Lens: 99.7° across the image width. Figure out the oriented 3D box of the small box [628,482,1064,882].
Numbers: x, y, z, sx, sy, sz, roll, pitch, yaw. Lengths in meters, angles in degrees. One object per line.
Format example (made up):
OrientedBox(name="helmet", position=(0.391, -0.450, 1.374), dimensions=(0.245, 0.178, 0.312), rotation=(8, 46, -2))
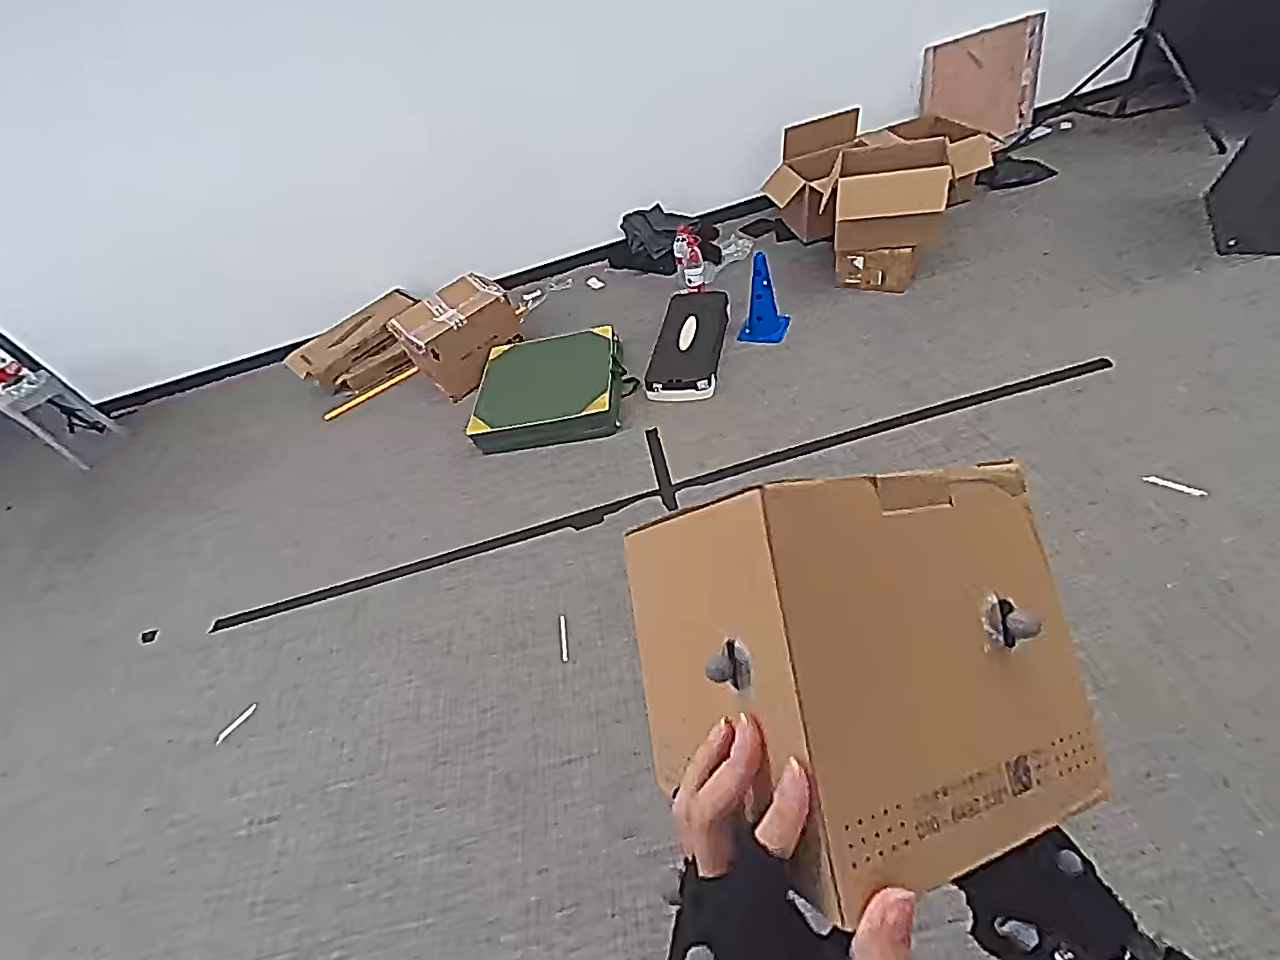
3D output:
OrientedBox(name="small box", position=(0.108, 0.106, 0.332), dimensions=(0.168, 0.179, 0.176), rotation=(-4, 79, -23))
